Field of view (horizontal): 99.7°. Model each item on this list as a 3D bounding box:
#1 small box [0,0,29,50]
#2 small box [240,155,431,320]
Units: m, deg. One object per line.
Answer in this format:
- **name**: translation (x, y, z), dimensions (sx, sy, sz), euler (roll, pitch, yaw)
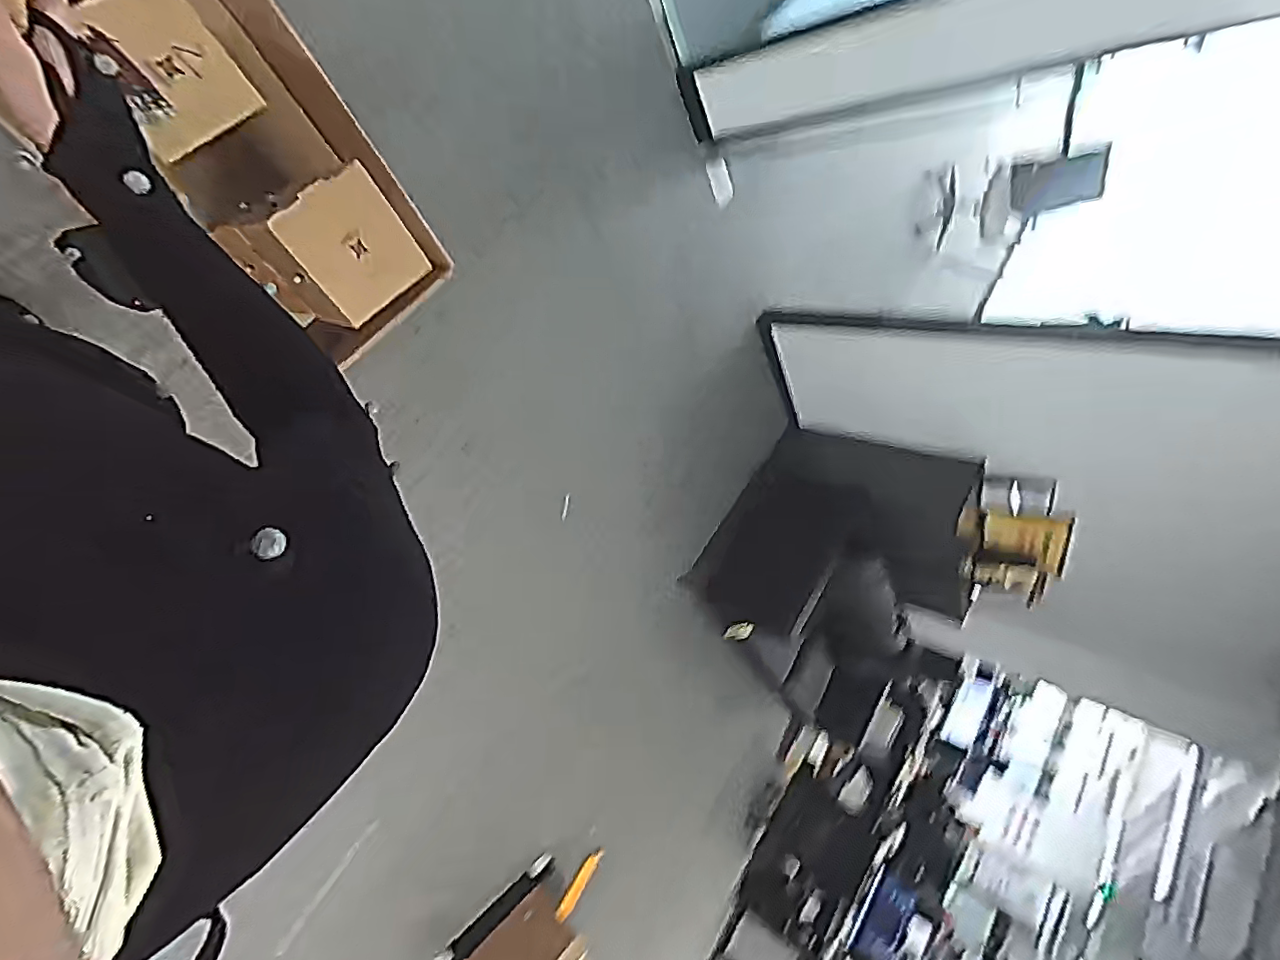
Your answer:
- **small box**: translation (-0.519, -0.411, 0.334), dimensions (0.168, 0.176, 0.179), euler (-9, 117, -51)
- **small box**: translation (-0.480, -0.377, 0.854), dimensions (0.168, 0.176, 0.179), euler (-50, 137, -22)
